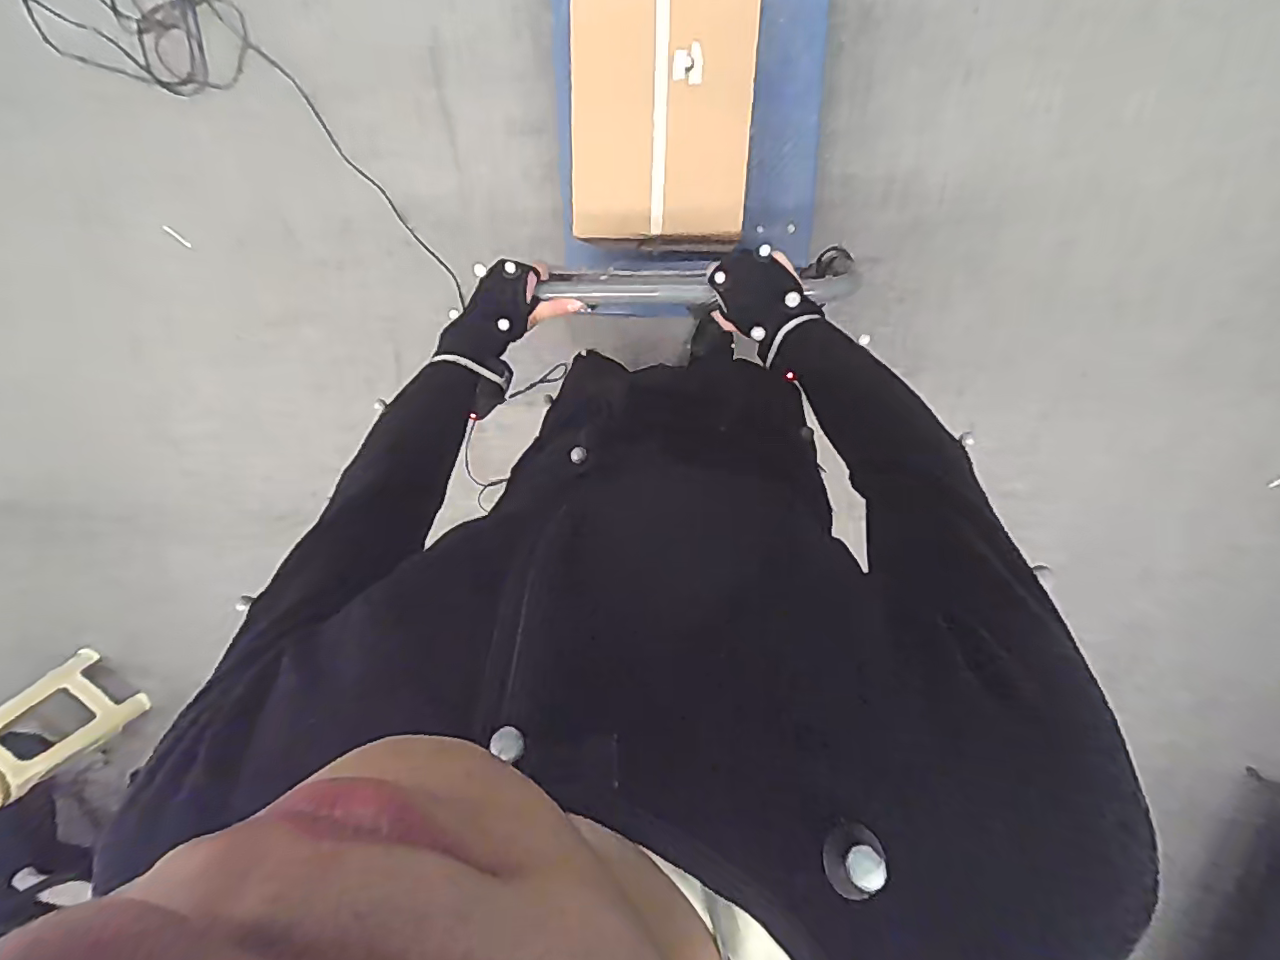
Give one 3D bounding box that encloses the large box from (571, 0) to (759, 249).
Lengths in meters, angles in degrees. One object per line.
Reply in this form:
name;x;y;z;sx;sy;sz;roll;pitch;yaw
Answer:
large box;0.054;-0.685;1.071;0.320;0.320;0.408;4;110;6
